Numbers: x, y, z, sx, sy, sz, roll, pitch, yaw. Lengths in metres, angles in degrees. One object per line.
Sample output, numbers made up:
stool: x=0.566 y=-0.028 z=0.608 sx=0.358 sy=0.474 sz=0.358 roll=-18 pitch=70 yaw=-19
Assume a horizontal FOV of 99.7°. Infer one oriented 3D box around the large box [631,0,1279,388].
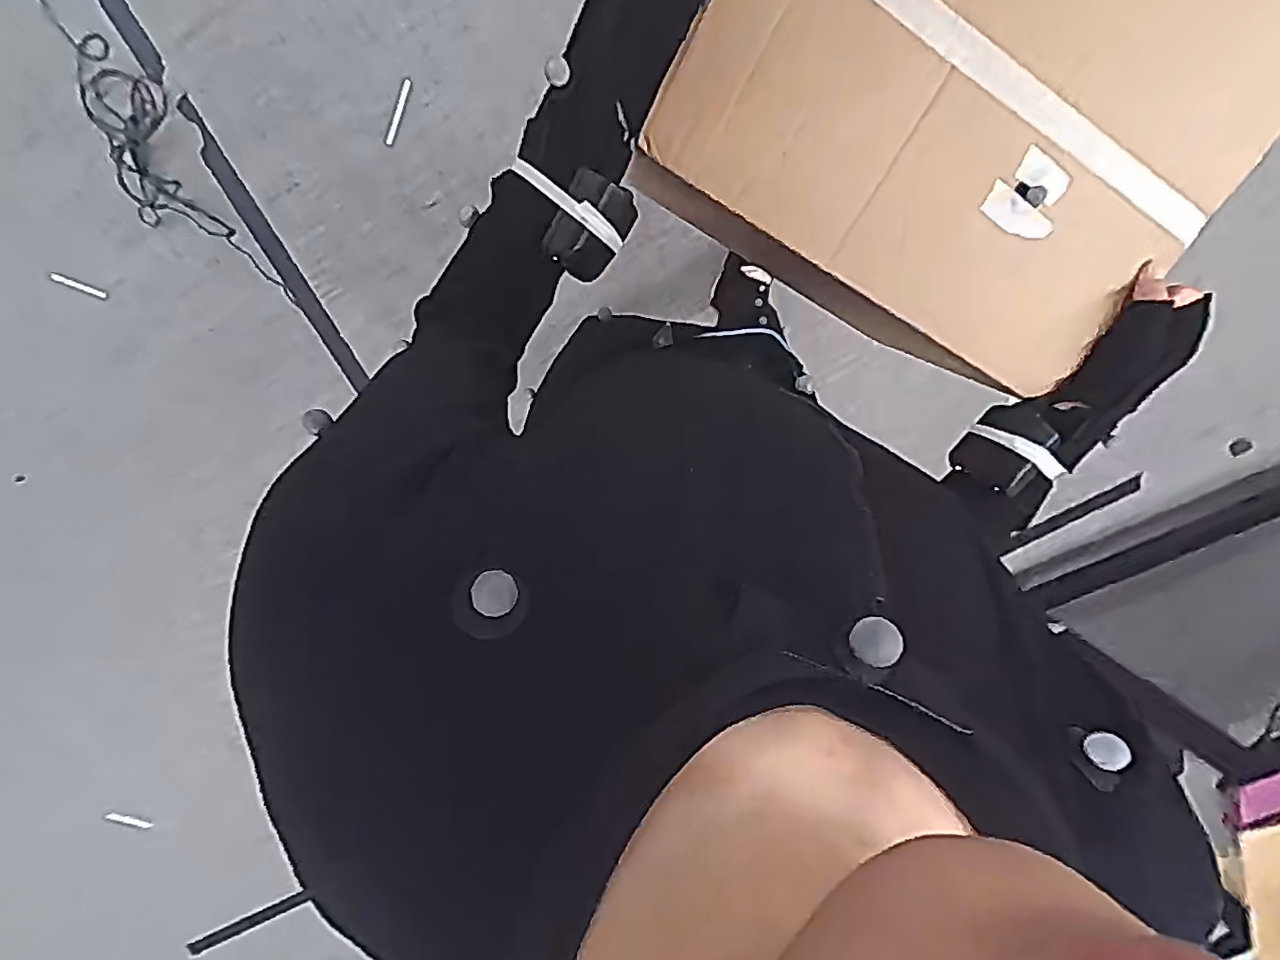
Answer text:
large box: x=0.239 y=-0.345 z=0.519 sx=0.408 sy=0.320 sz=0.320 roll=26 pitch=112 yaw=-14
